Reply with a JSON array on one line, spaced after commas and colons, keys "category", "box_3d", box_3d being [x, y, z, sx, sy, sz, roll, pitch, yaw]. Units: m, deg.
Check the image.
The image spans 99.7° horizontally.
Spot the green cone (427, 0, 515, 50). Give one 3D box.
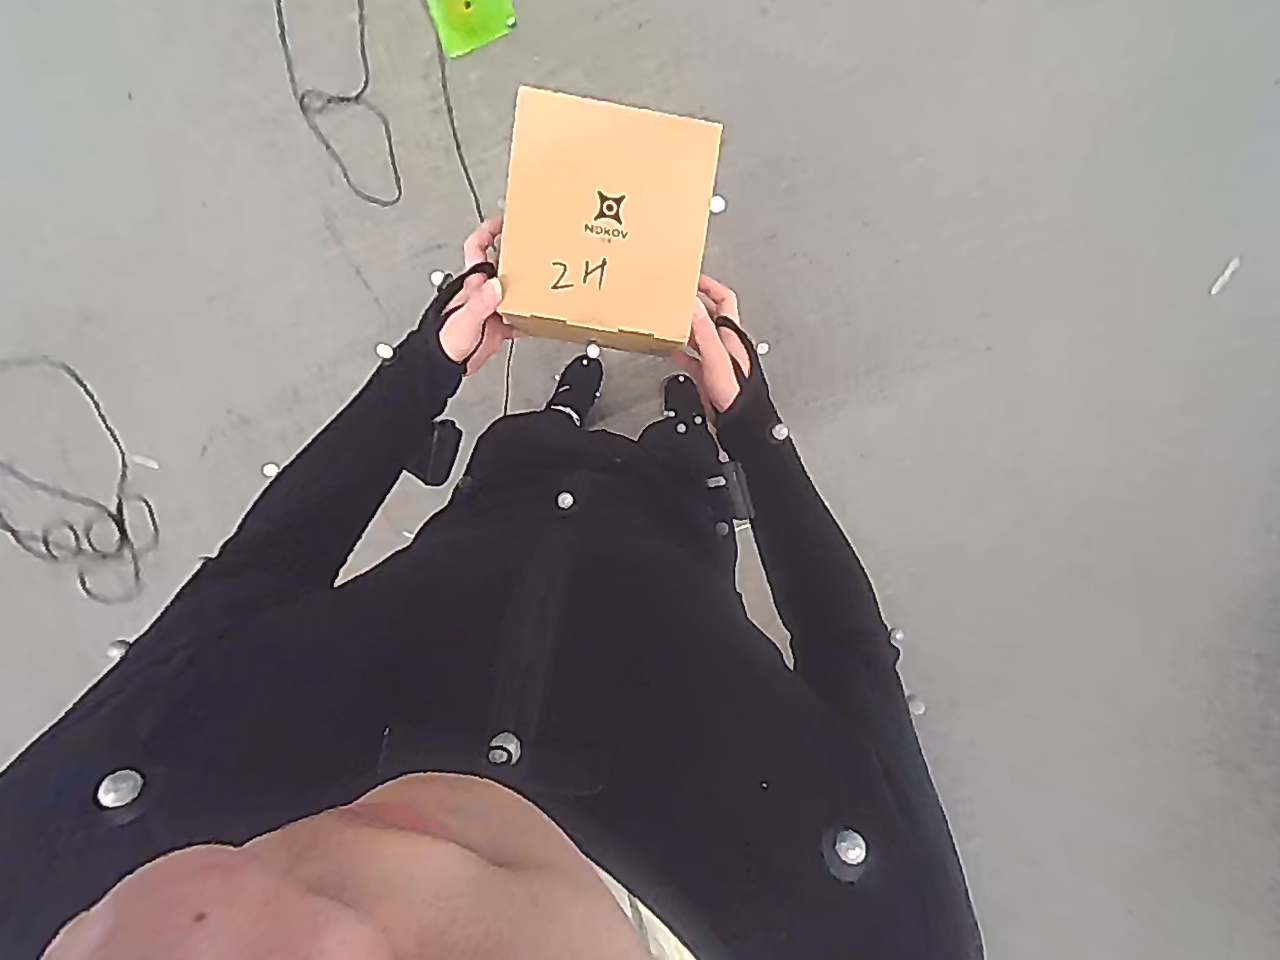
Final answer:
[{"category": "green cone", "box_3d": [-0.440, -1.178, 1.187, 0.202, 0.368, 0.200, -20, 102, 7]}]

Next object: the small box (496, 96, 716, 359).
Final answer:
[{"category": "small box", "box_3d": [-0.034, -0.224, 0.529, 0.168, 0.176, 0.179, 8, 98, -4]}]
